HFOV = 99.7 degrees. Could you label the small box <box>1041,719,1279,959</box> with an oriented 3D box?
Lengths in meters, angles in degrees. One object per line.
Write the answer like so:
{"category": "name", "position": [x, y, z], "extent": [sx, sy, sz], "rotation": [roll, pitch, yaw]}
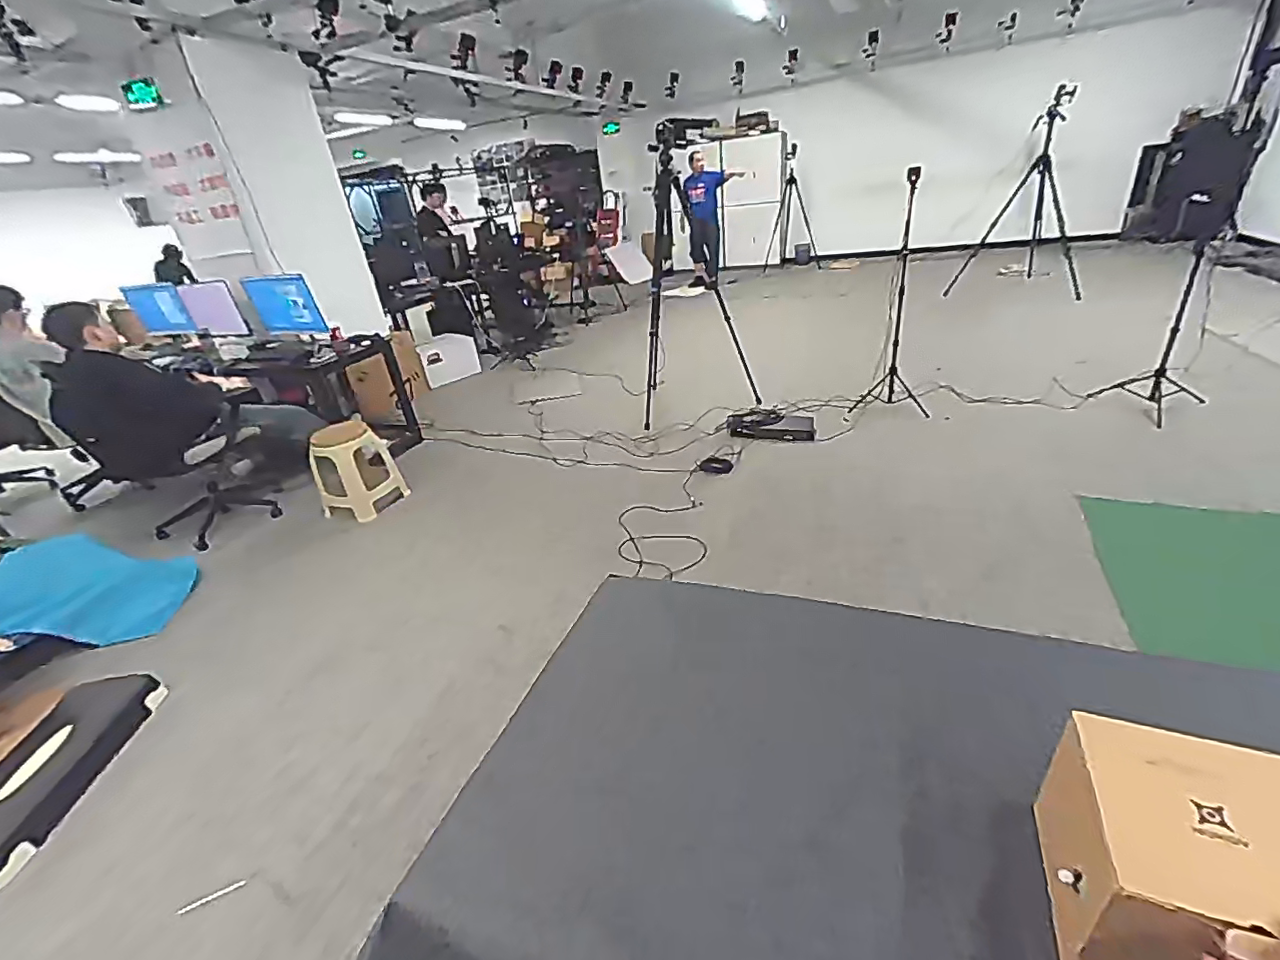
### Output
{"category": "small box", "position": [0.485, 0.358, 0.480], "extent": [0.168, 0.176, 0.179], "rotation": [6, 30, 24]}
